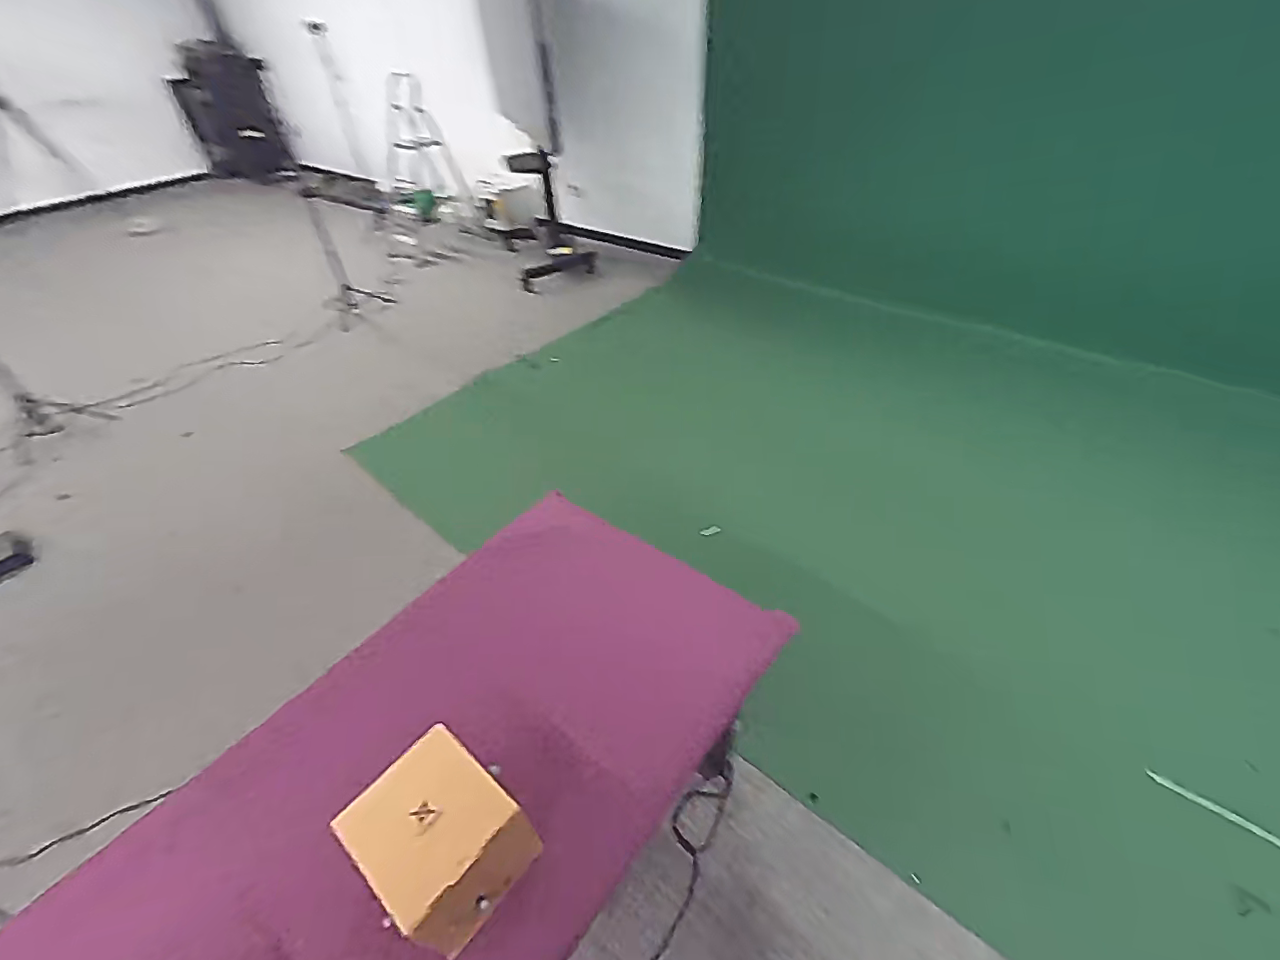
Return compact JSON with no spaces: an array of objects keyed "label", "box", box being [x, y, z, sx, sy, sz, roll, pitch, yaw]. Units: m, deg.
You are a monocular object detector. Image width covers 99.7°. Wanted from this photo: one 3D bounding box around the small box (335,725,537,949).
[{"label":"small box","box":[-0.265,0.482,0.732,0.179,0.176,0.168,27,50,29]}]
